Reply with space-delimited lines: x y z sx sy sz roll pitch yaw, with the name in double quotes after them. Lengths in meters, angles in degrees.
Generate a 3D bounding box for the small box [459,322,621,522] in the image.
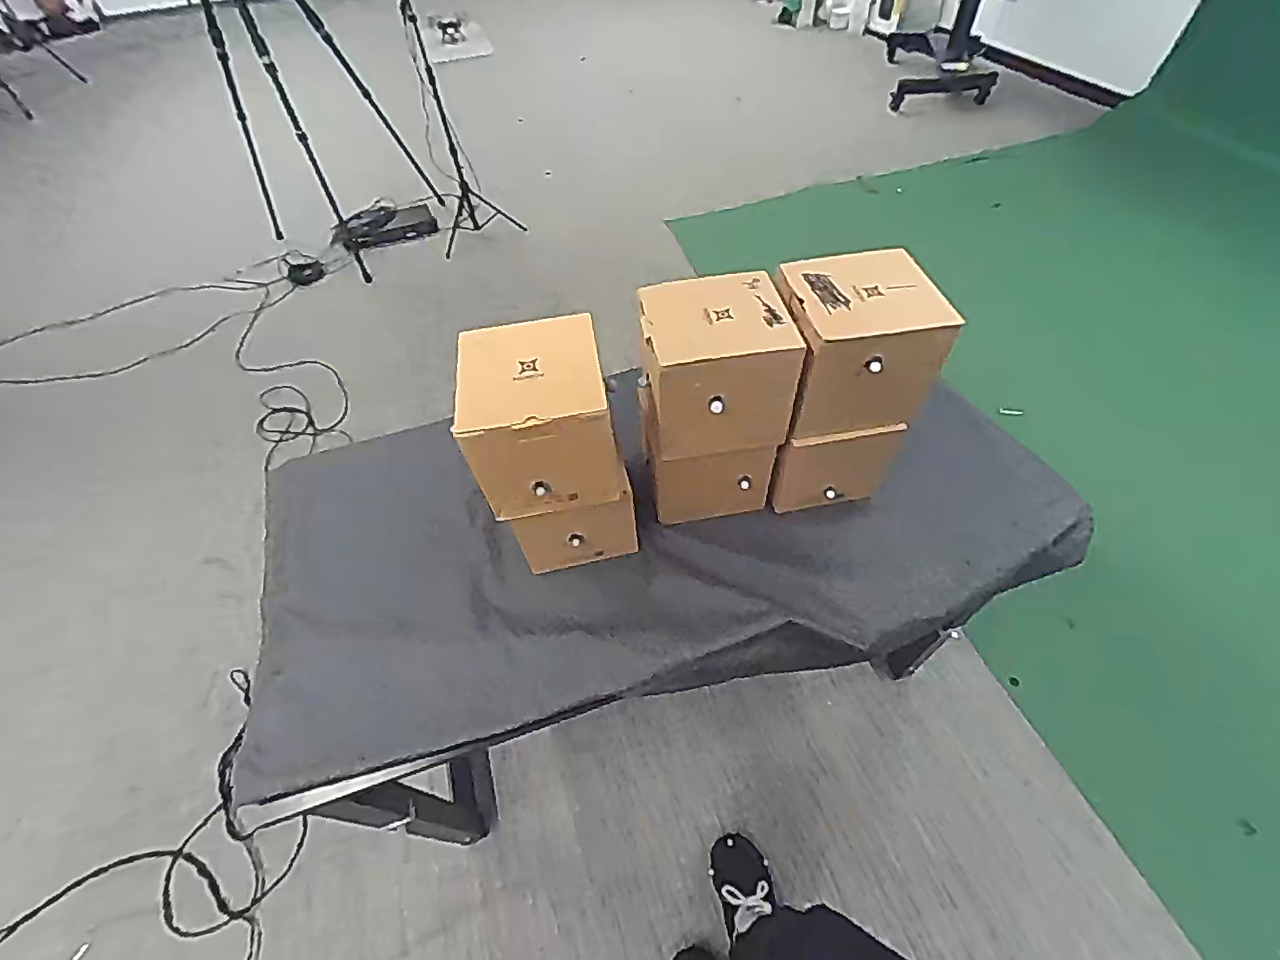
-0.121 -0.071 0.692 0.168 0.176 0.179 -10 54 -3 "small box"
